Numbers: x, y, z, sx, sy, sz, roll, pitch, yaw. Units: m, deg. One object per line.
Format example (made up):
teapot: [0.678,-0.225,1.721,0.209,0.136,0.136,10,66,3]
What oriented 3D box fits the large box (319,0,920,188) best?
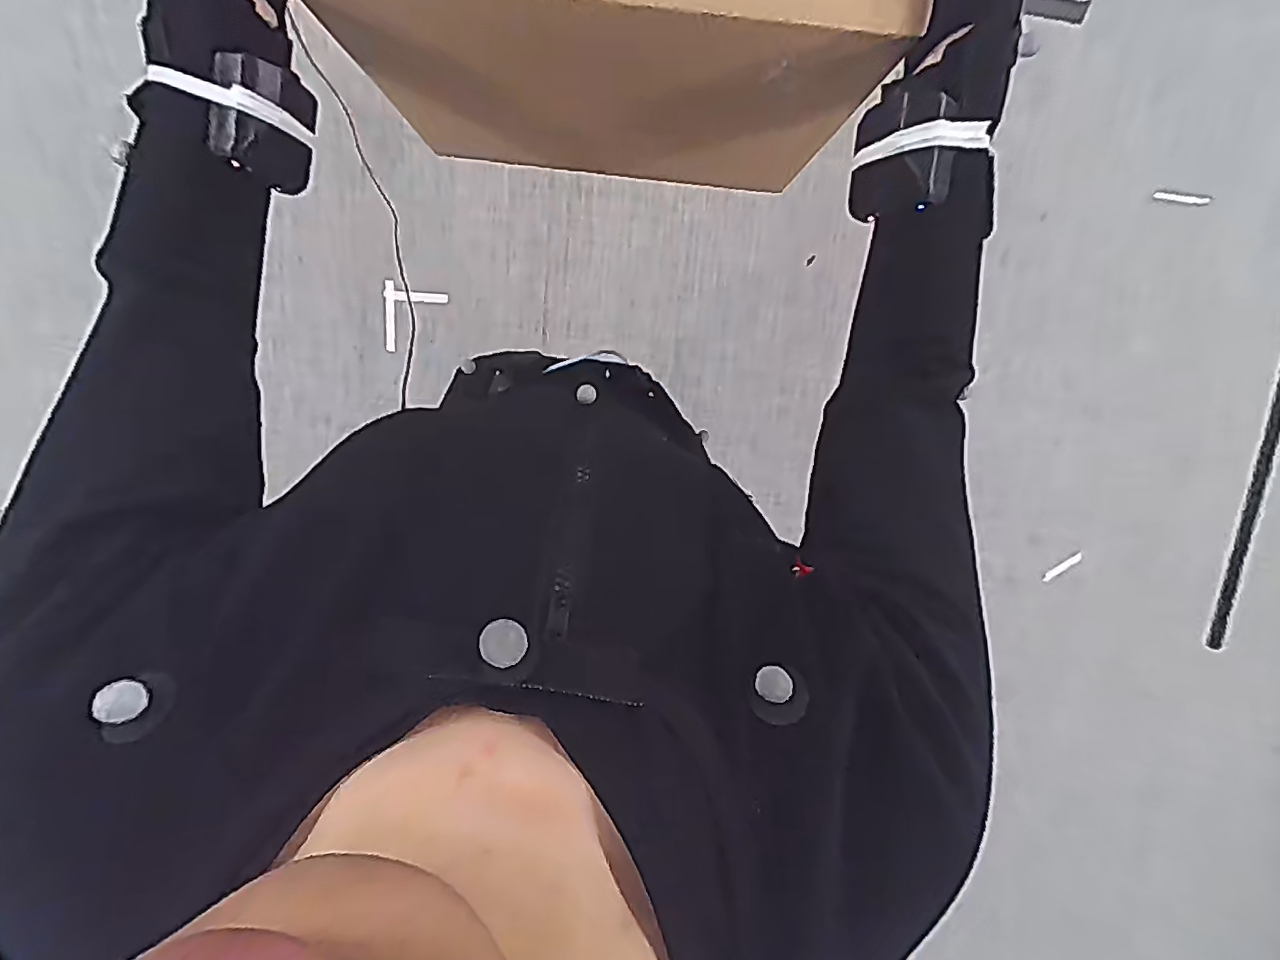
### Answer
large box: [-0.015,-0.475,0.458,0.408,0.320,0.320,4,102,-3]
